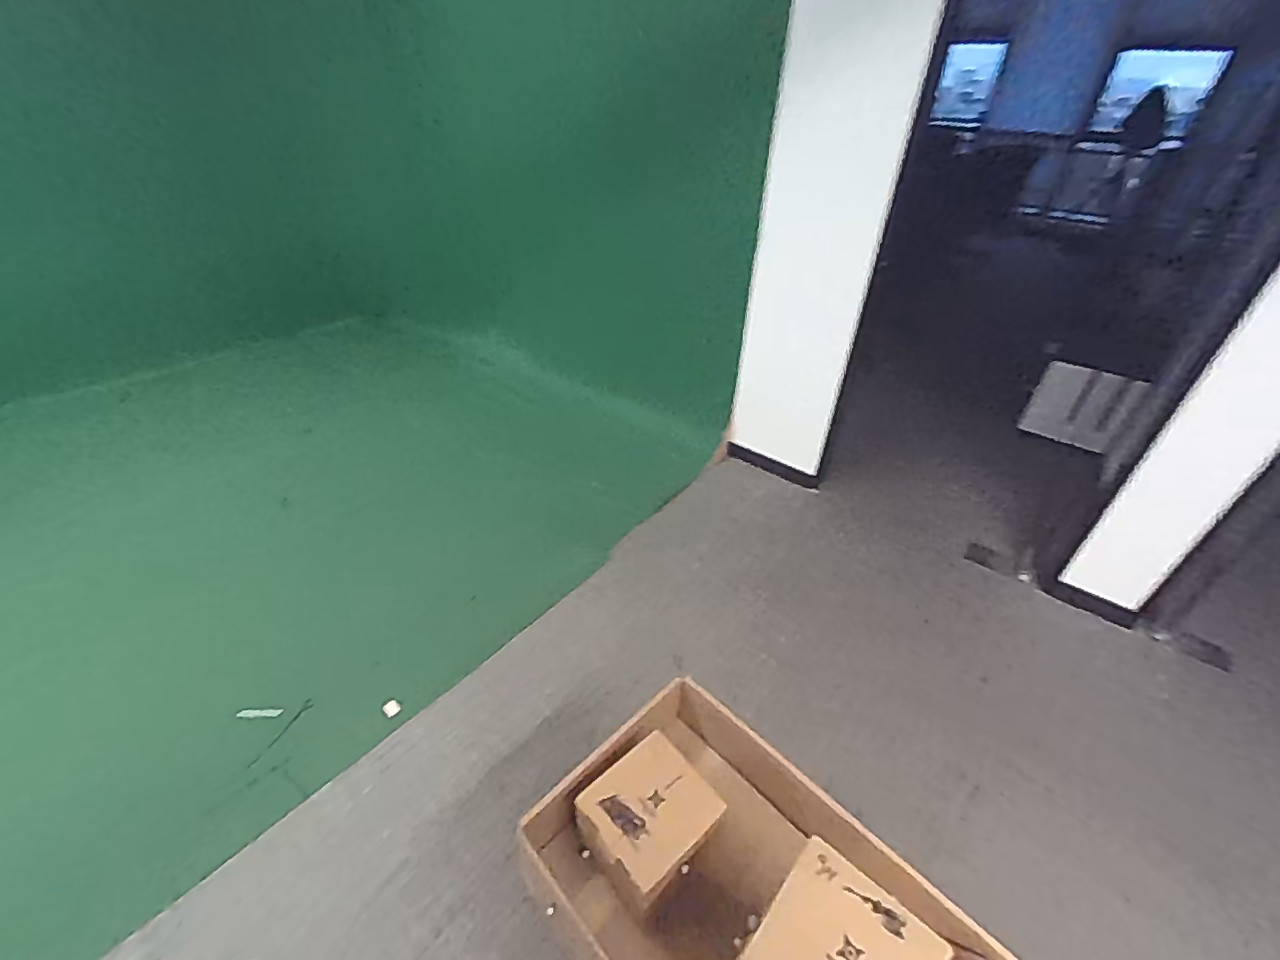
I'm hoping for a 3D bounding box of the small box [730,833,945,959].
[{"bbox_3d":[0.208,0.565,0.616,0.168,0.176,0.179,30,46,32],"label":"small box"}]
